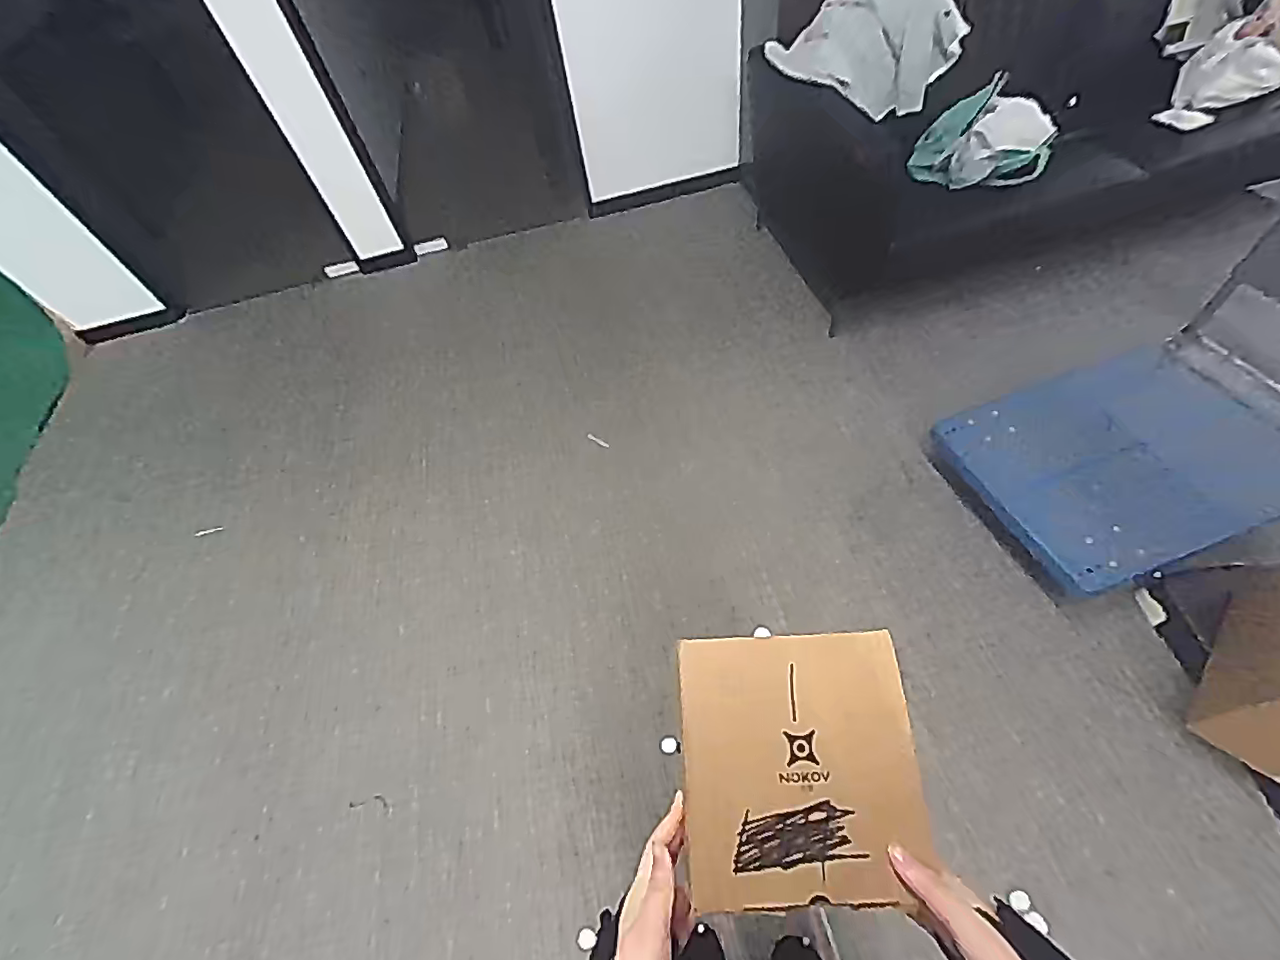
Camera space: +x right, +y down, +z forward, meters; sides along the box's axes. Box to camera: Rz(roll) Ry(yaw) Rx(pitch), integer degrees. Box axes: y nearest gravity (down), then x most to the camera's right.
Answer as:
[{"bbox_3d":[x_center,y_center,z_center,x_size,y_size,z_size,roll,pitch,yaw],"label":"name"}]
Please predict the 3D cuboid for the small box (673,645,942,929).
[{"bbox_3d":[0.115,0.237,0.454,0.168,0.176,0.179,-2,67,0],"label":"small box"}]
